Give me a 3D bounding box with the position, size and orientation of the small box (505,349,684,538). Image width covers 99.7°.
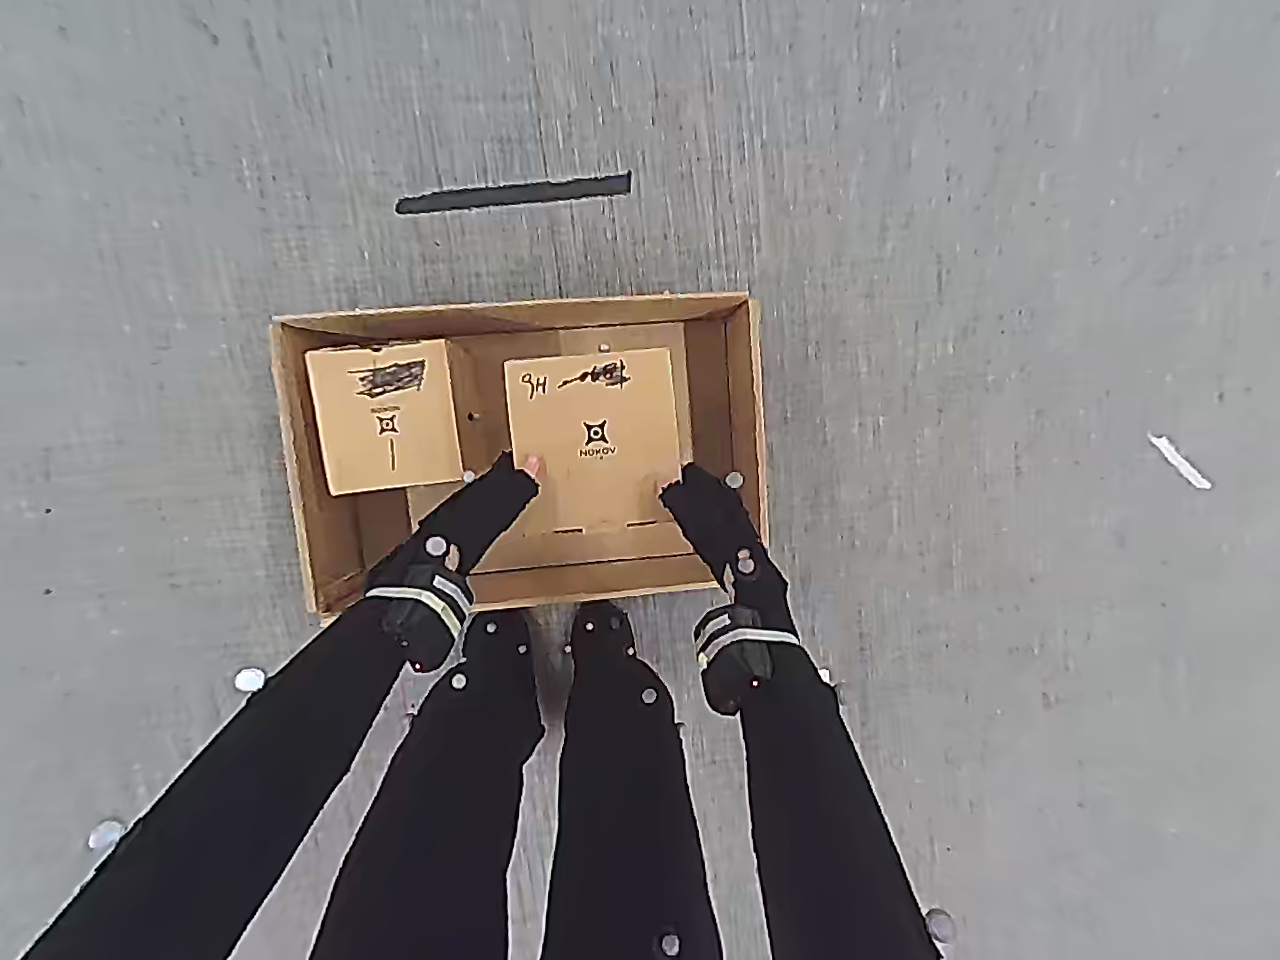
[{"bbox_3d":[-0.047,-0.040,0.608,0.168,0.176,0.179,-6,93,-3],"label":"small box"}]
